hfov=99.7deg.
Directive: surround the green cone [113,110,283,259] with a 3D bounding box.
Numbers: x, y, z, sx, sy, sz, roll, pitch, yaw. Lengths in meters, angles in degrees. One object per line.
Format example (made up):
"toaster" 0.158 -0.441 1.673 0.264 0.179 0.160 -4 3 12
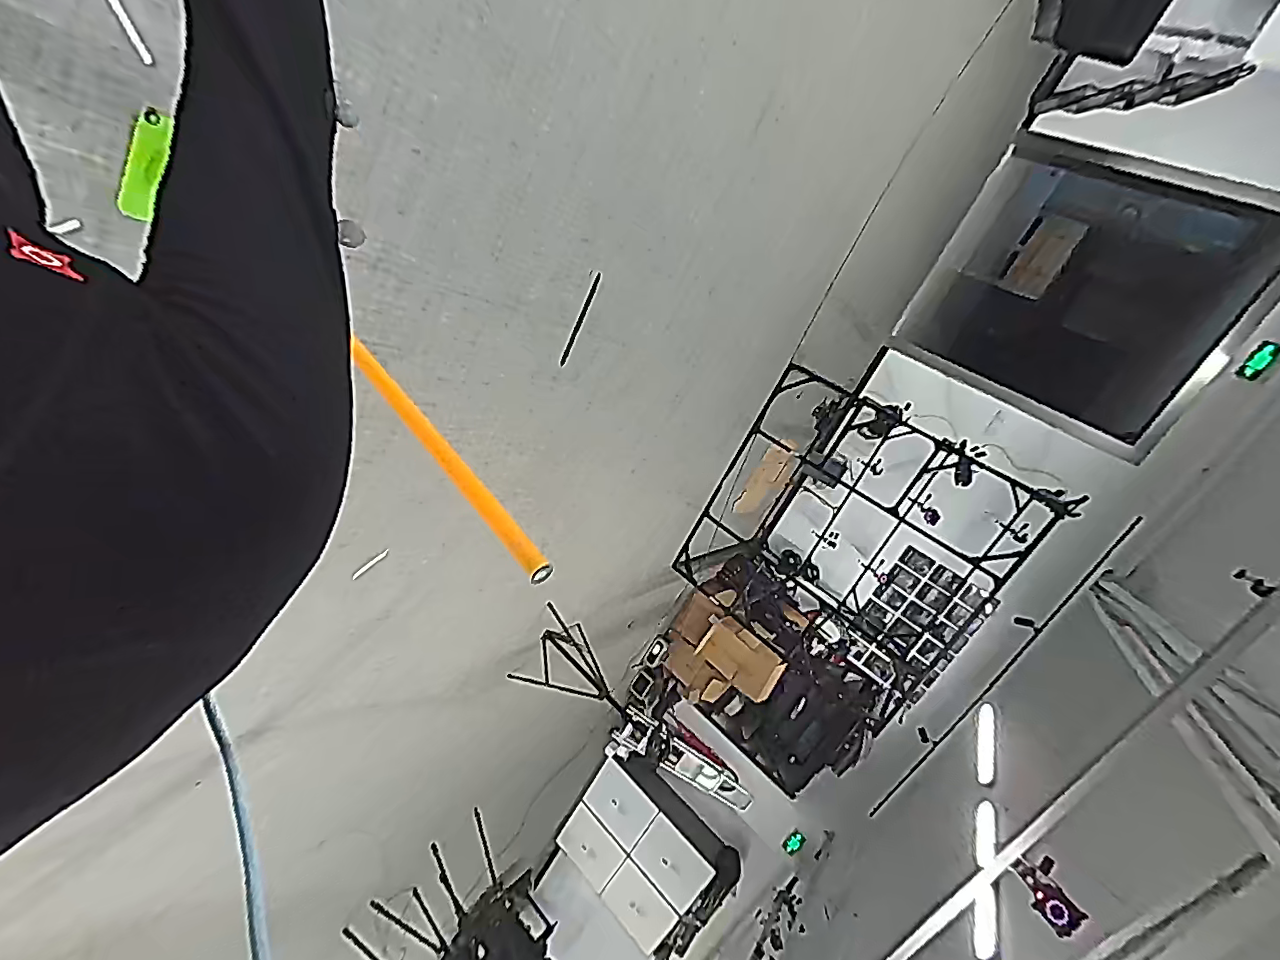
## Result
"green cone" -0.781 -0.498 1.013 0.200 0.368 0.202 -60 155 14
